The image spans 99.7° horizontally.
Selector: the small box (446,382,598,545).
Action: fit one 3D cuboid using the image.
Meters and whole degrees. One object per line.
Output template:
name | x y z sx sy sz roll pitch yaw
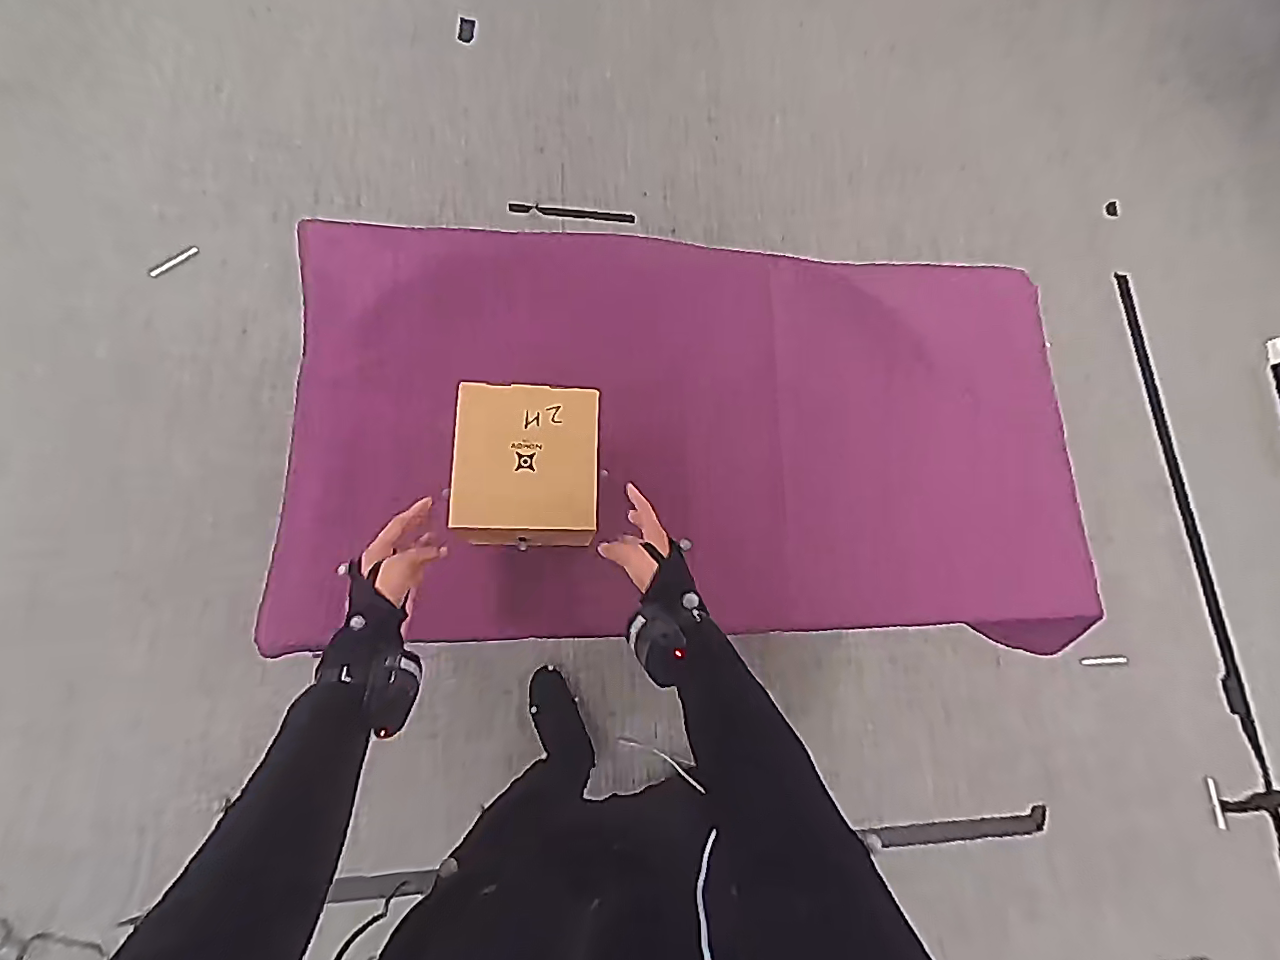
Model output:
small box | -0.143 -0.010 0.701 0.168 0.176 0.179 2 77 -8
